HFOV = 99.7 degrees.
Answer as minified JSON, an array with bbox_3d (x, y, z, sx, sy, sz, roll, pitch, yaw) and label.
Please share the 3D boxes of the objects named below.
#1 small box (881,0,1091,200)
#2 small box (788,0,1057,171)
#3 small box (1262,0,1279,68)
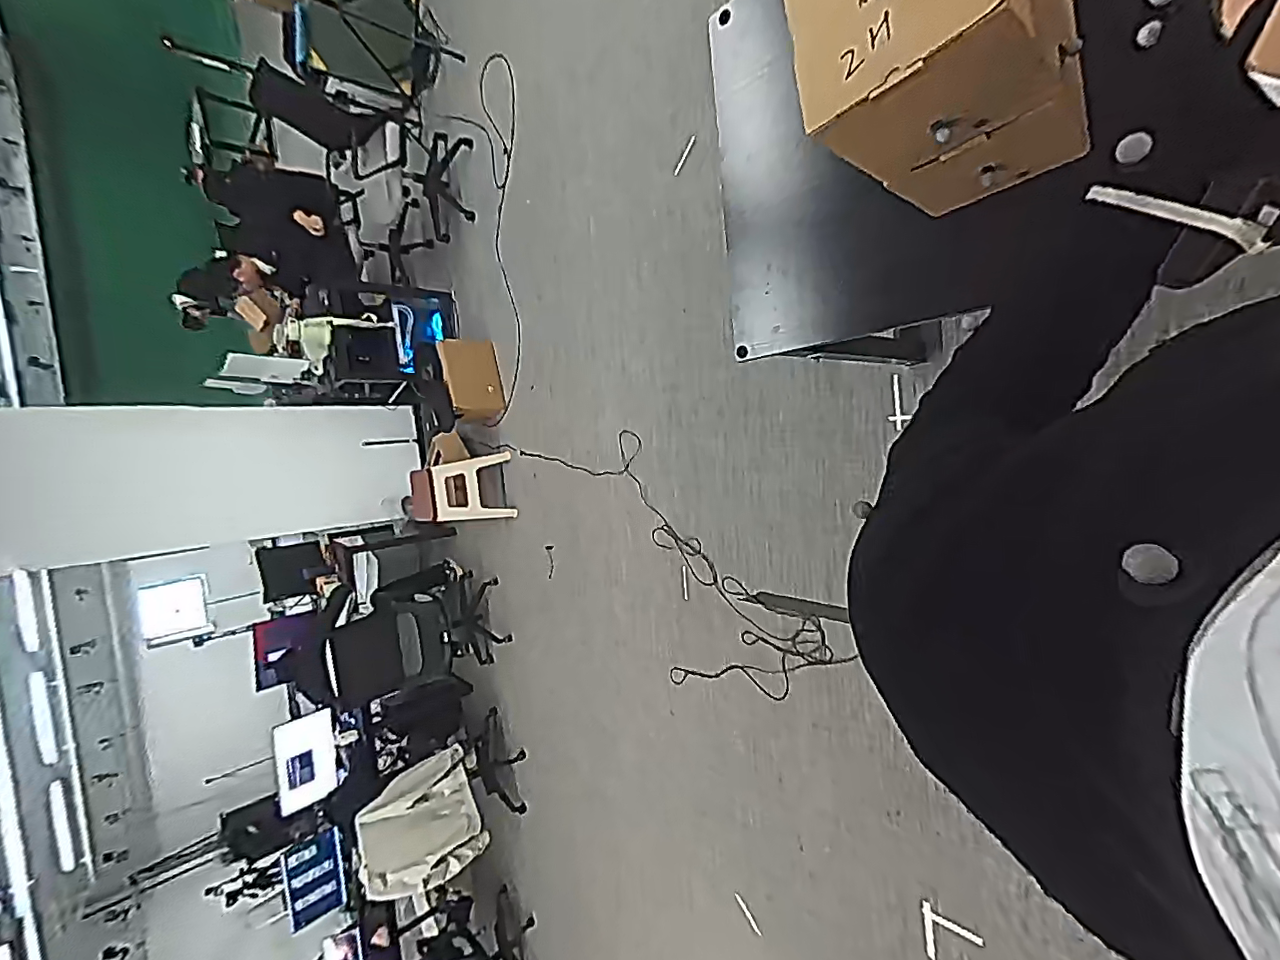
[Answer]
[{"bbox_3d":[0.382,-0.442,0.610,0.168,0.176,0.179,-7,91,49],"label":"small box"},{"bbox_3d":[0.258,-0.429,0.501,0.168,0.176,0.179,-10,89,49],"label":"small box"},{"bbox_3d":[0.578,-0.447,0.384,0.179,0.176,0.168,1,97,48],"label":"small box"}]
